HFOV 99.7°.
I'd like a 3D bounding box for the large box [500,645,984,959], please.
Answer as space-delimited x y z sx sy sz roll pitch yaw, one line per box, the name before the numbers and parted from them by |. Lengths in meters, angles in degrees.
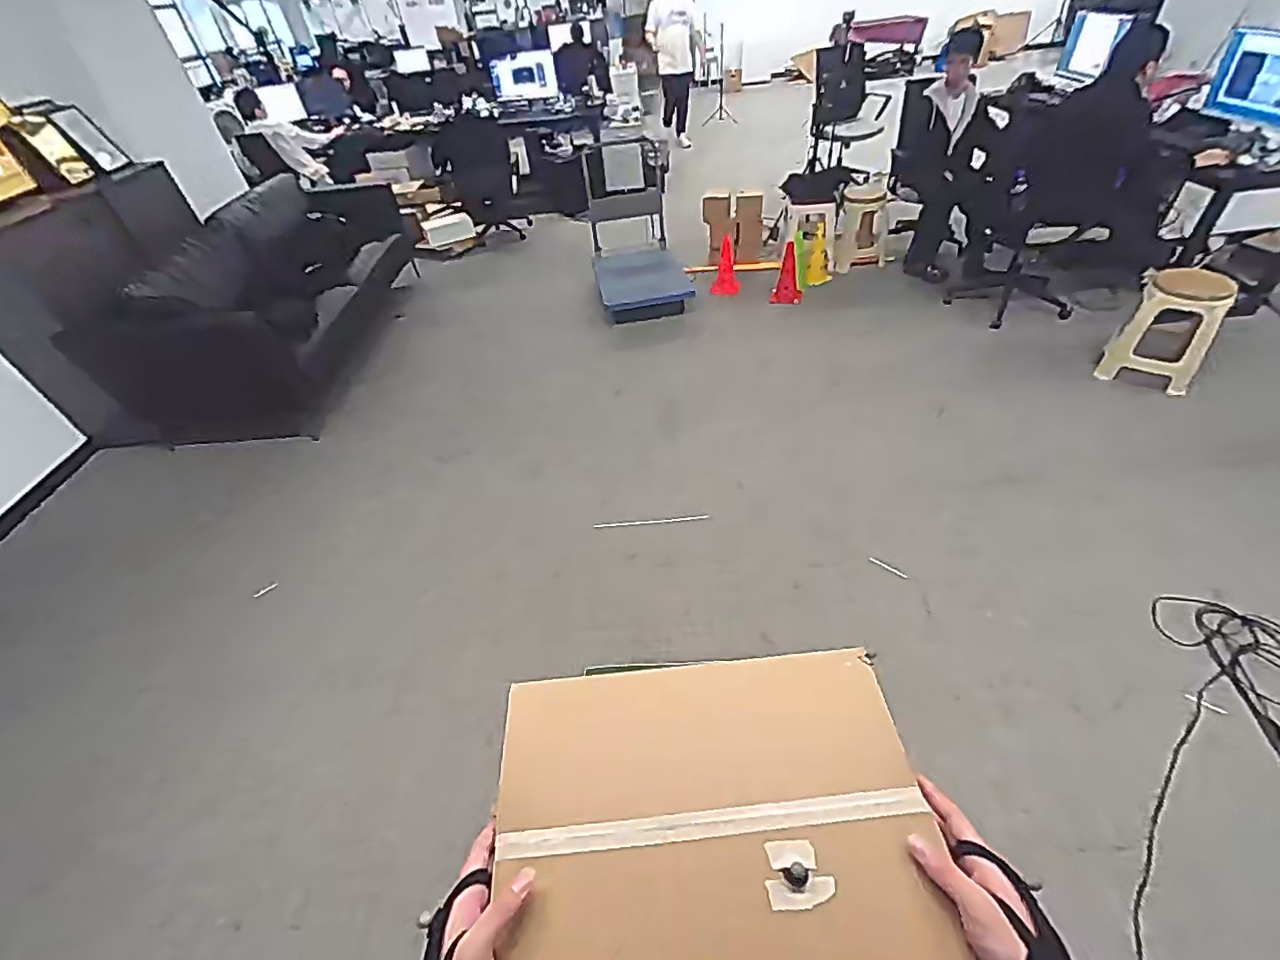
large box | 0.077 0.427 0.625 0.408 0.320 0.320 -6 45 -1
